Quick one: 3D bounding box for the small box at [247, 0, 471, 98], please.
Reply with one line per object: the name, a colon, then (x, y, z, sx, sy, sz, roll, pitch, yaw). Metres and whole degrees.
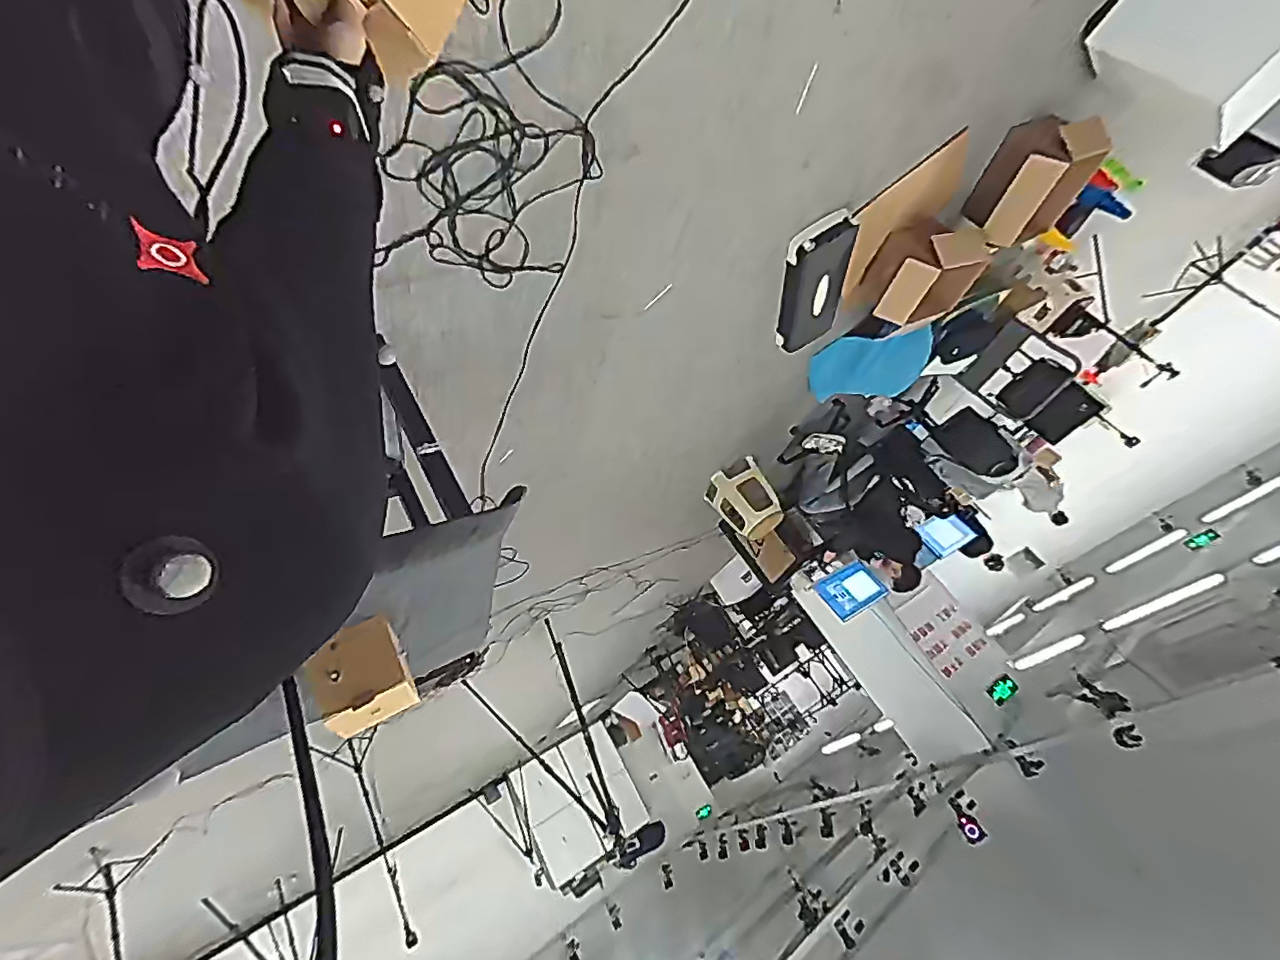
small box: (-0.271, -0.519, 0.516, 0.168, 0.176, 0.179, 35, 70, -51)

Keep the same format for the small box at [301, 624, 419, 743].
small box: (-0.601, 0.434, 1.167, 0.168, 0.176, 0.179, -22, 154, -24)
